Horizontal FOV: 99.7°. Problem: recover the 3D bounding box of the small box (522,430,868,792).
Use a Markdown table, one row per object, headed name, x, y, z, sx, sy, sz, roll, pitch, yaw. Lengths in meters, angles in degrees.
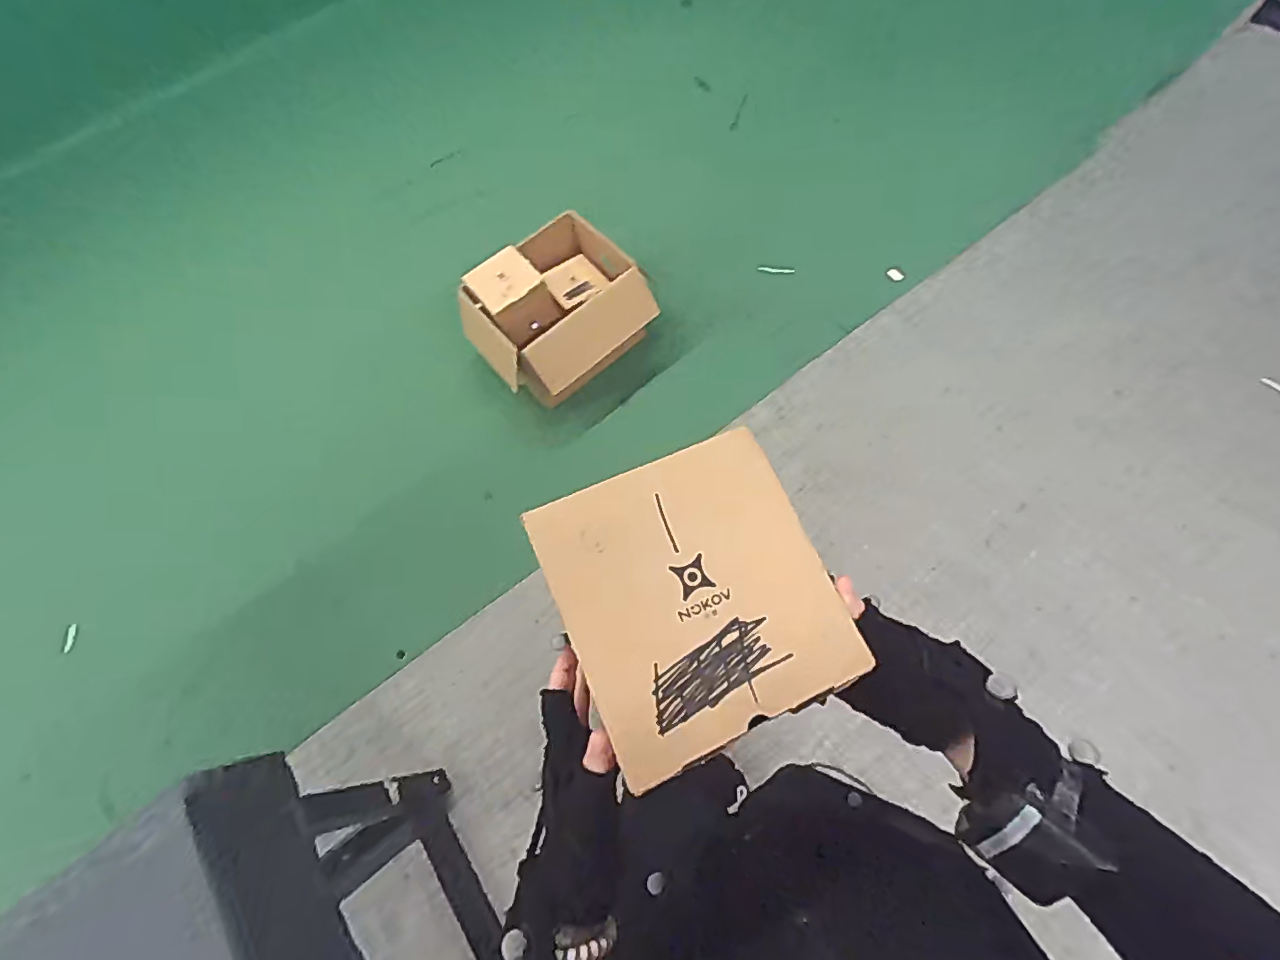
| name | x | y | z | sx | sy | sz | roll | pitch | yaw |
| --- | --- | --- | --- | --- | --- | --- | --- | --- | --- |
| small box | 0.027 | 0.092 | 0.408 | 0.168 | 0.176 | 0.179 | -21 | 76 | -11 |
